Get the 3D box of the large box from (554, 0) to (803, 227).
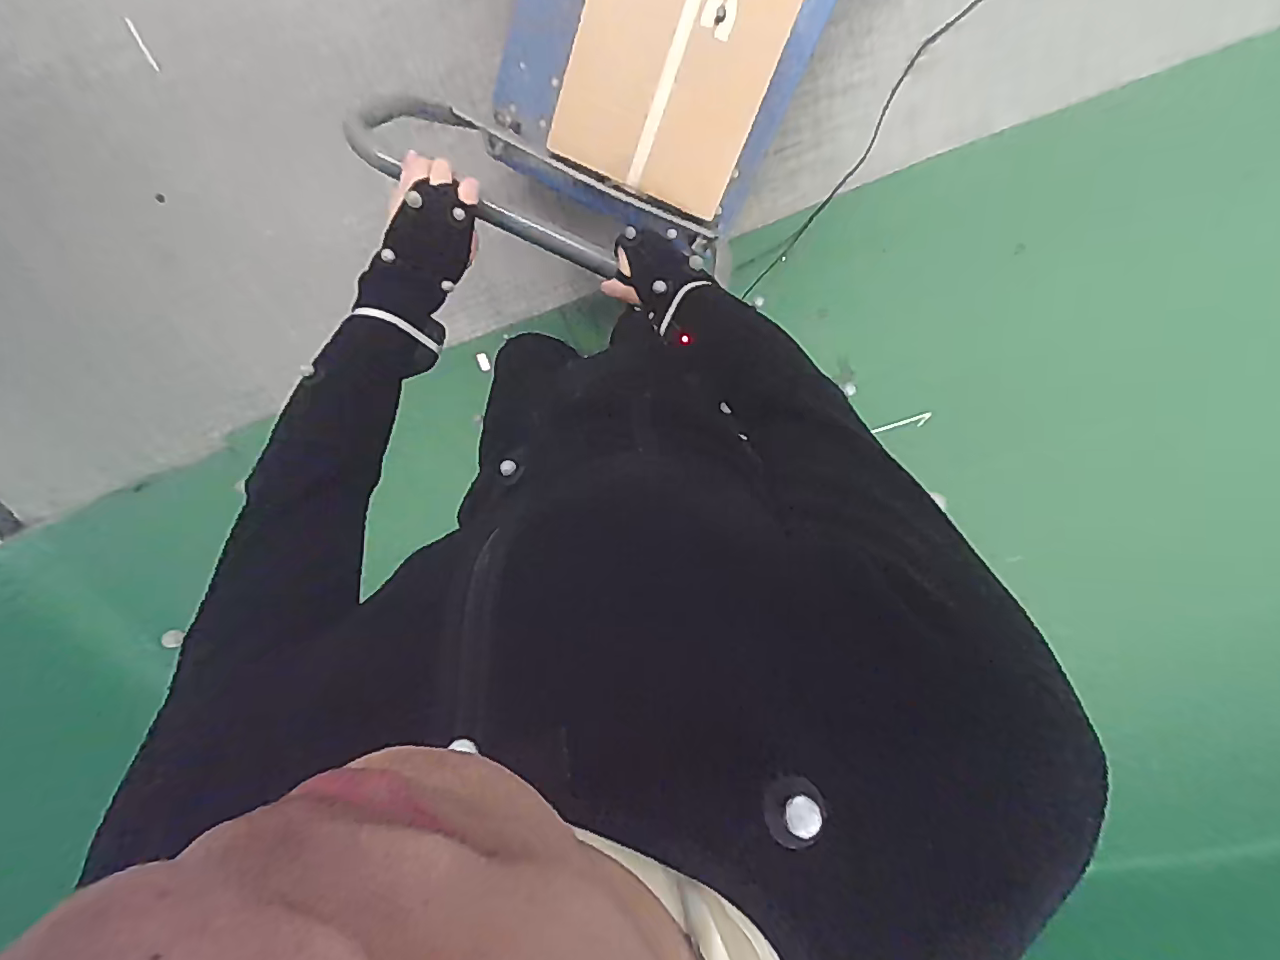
[{"bbox_3d":[0.065,-0.738,1.017,0.320,0.320,0.408,21,114,-8],"label":"large box"}]
